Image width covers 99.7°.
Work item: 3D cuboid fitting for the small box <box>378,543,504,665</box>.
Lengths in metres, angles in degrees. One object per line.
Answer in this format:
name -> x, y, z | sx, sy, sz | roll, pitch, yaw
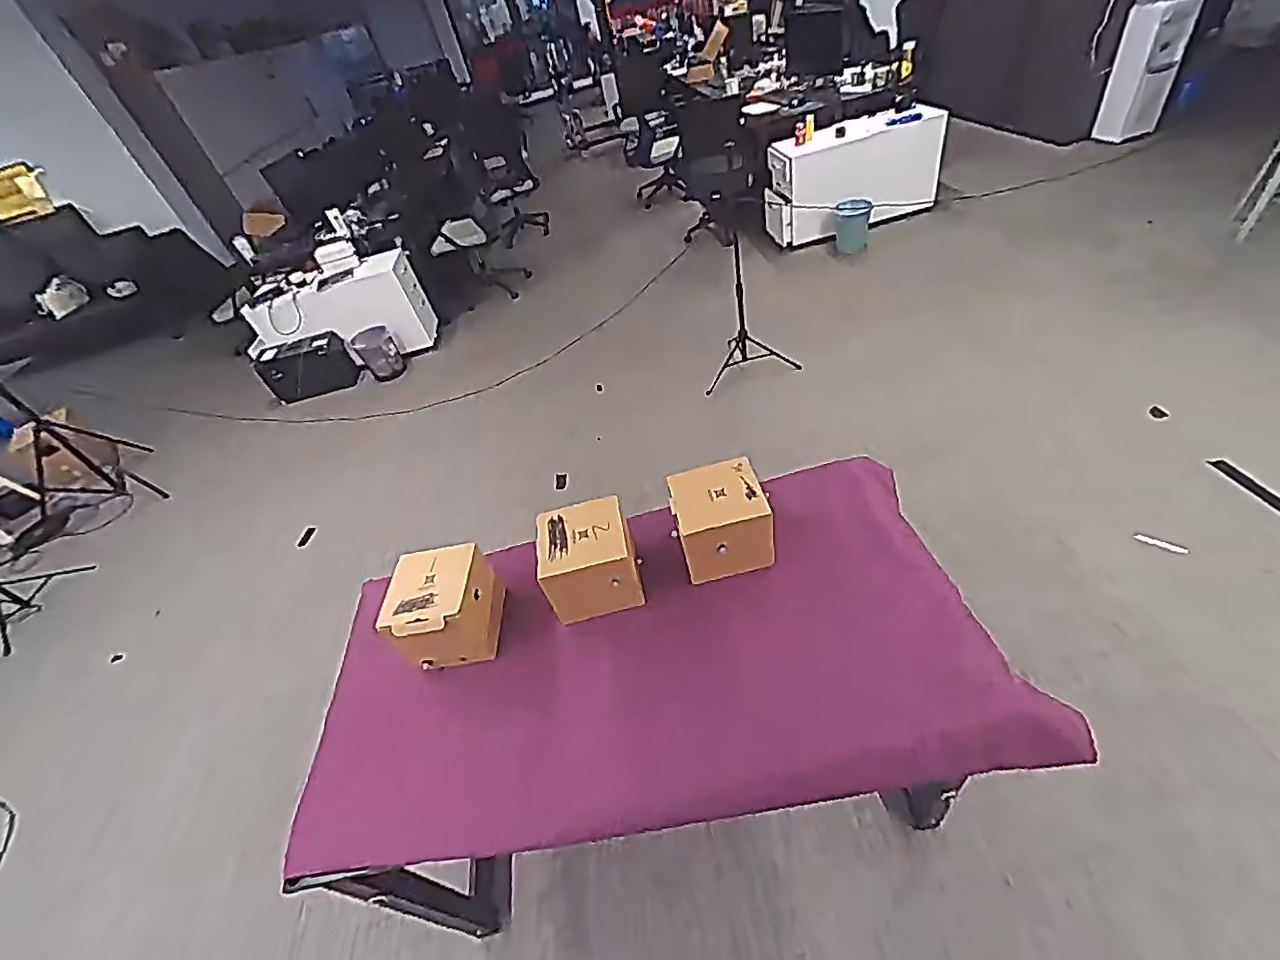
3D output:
small box -> -0.388, 0.257, 1.093 | 0.168, 0.176, 0.179 | -10, 43, 6
